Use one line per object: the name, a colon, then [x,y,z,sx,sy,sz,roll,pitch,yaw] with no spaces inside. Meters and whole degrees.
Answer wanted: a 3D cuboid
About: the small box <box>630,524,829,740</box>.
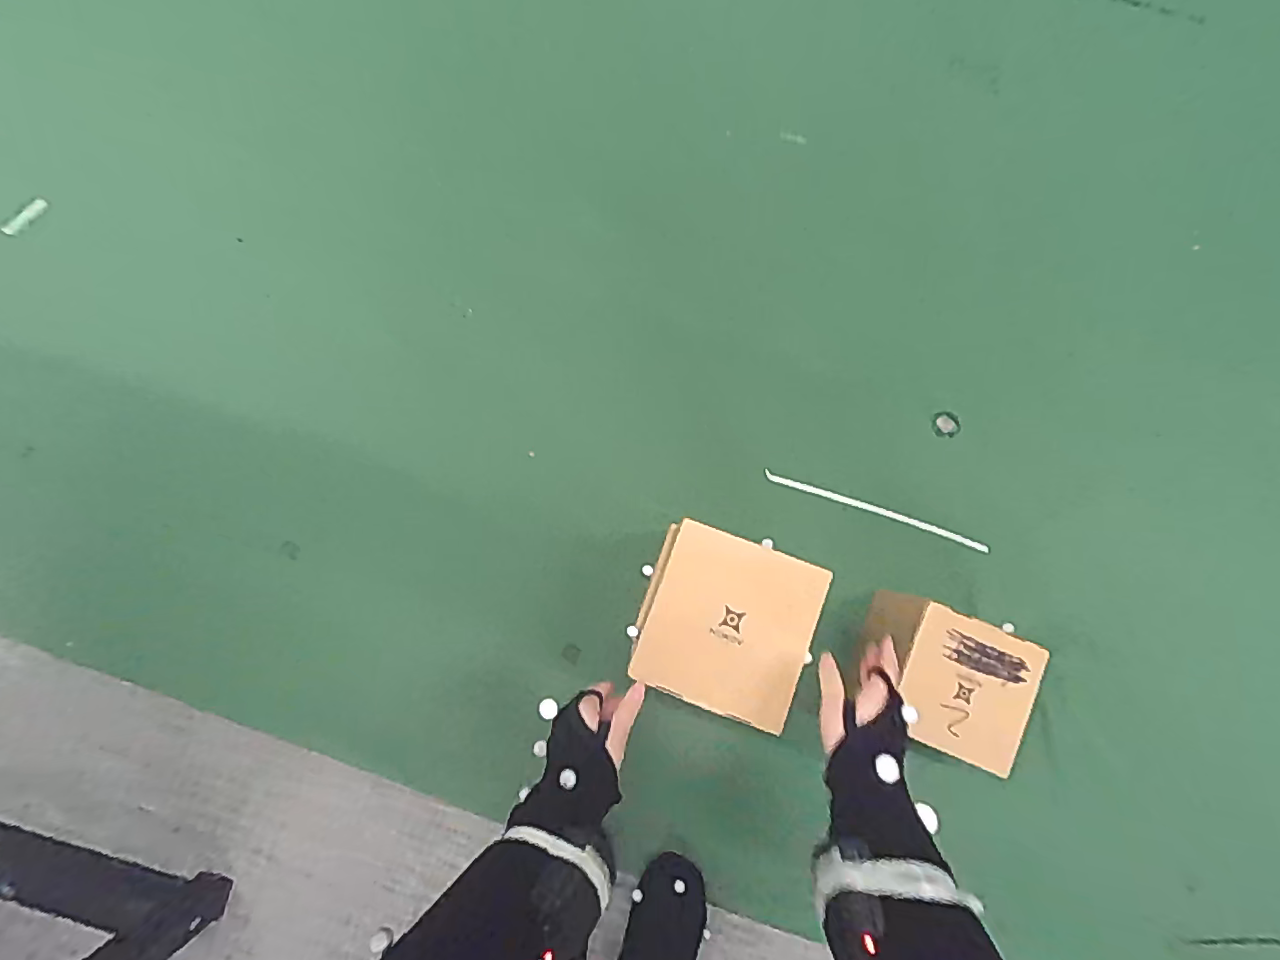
small box: [0.094,0.164,0.634,0.168,0.176,0.179,20,84,4]
